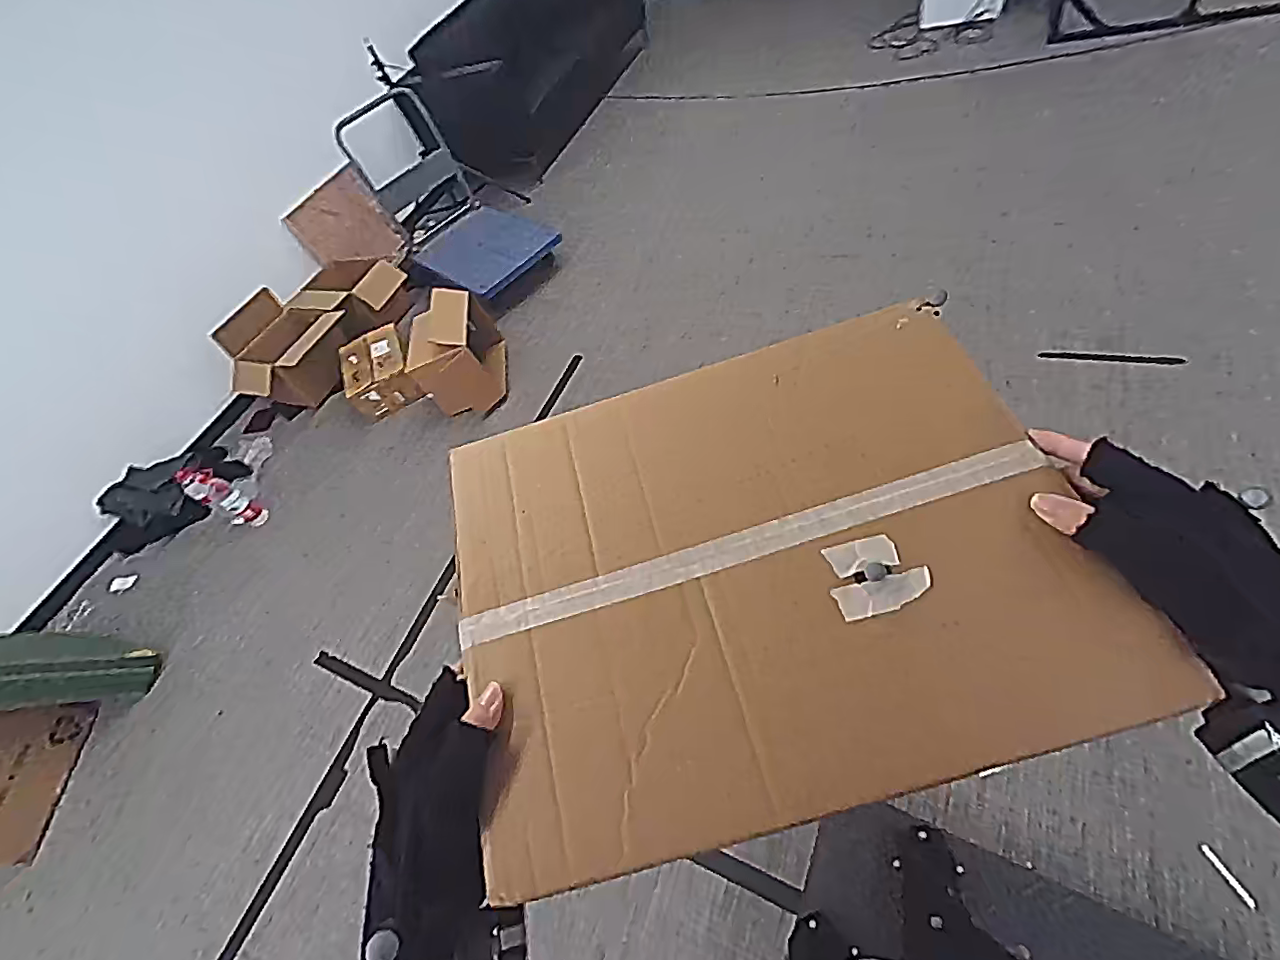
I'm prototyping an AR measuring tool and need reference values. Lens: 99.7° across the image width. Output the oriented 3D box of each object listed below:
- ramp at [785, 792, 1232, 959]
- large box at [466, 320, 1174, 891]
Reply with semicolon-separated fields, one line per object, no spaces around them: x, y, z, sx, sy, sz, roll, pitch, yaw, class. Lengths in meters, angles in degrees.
0.775;1.005;0.958;0.991;0.206;0.509;12;60;25;ramp
0.101;0.122;0.509;0.408;0.320;0.320;-18;60;2;large box
